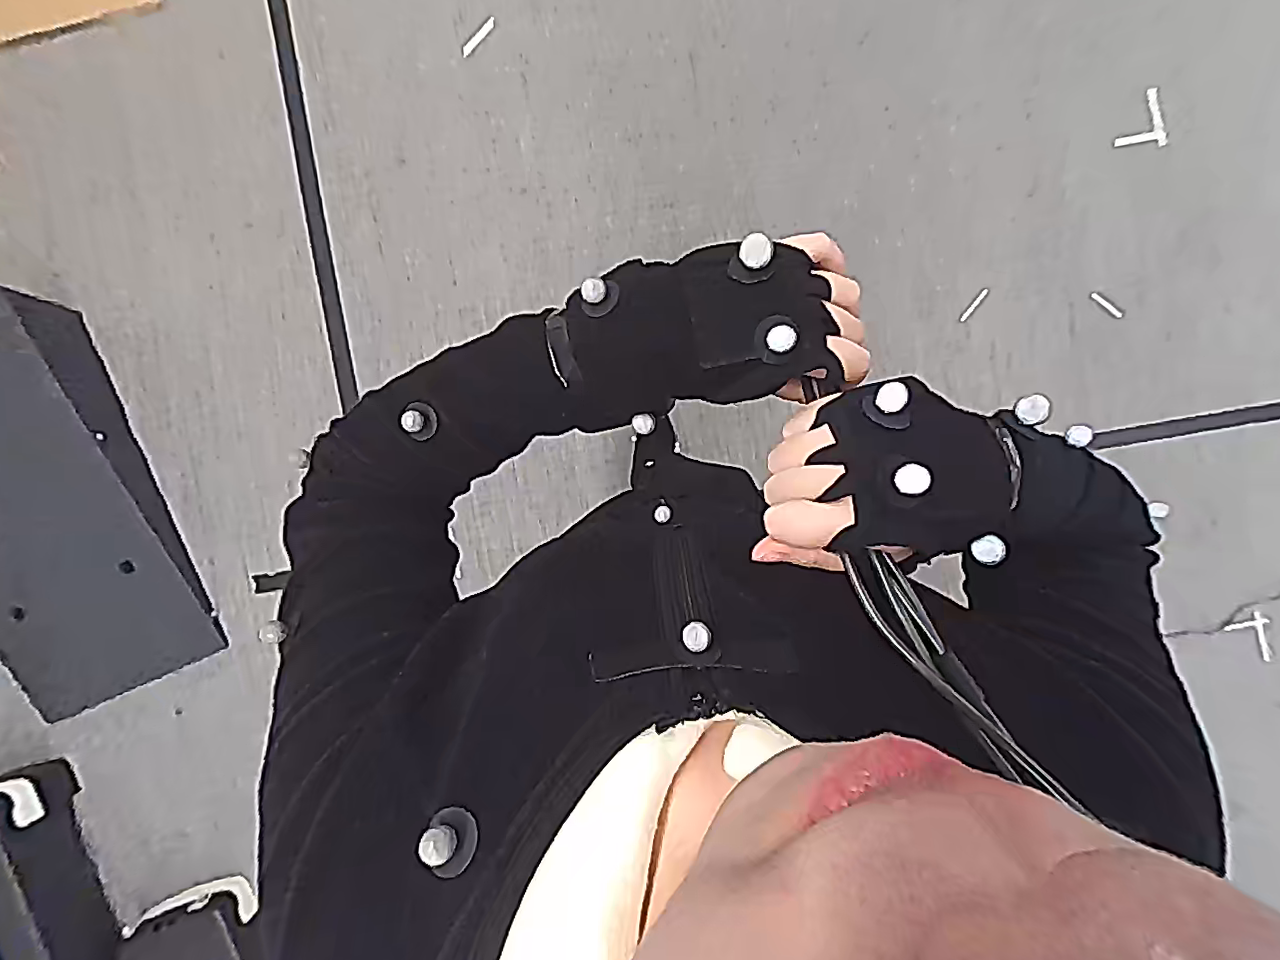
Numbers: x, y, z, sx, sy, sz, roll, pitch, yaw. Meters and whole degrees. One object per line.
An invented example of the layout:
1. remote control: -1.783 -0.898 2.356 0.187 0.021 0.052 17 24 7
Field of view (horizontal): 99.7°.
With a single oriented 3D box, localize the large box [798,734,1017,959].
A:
1. large box: 0.559 0.828 1.188 0.320 0.320 0.408 5 90 -2
